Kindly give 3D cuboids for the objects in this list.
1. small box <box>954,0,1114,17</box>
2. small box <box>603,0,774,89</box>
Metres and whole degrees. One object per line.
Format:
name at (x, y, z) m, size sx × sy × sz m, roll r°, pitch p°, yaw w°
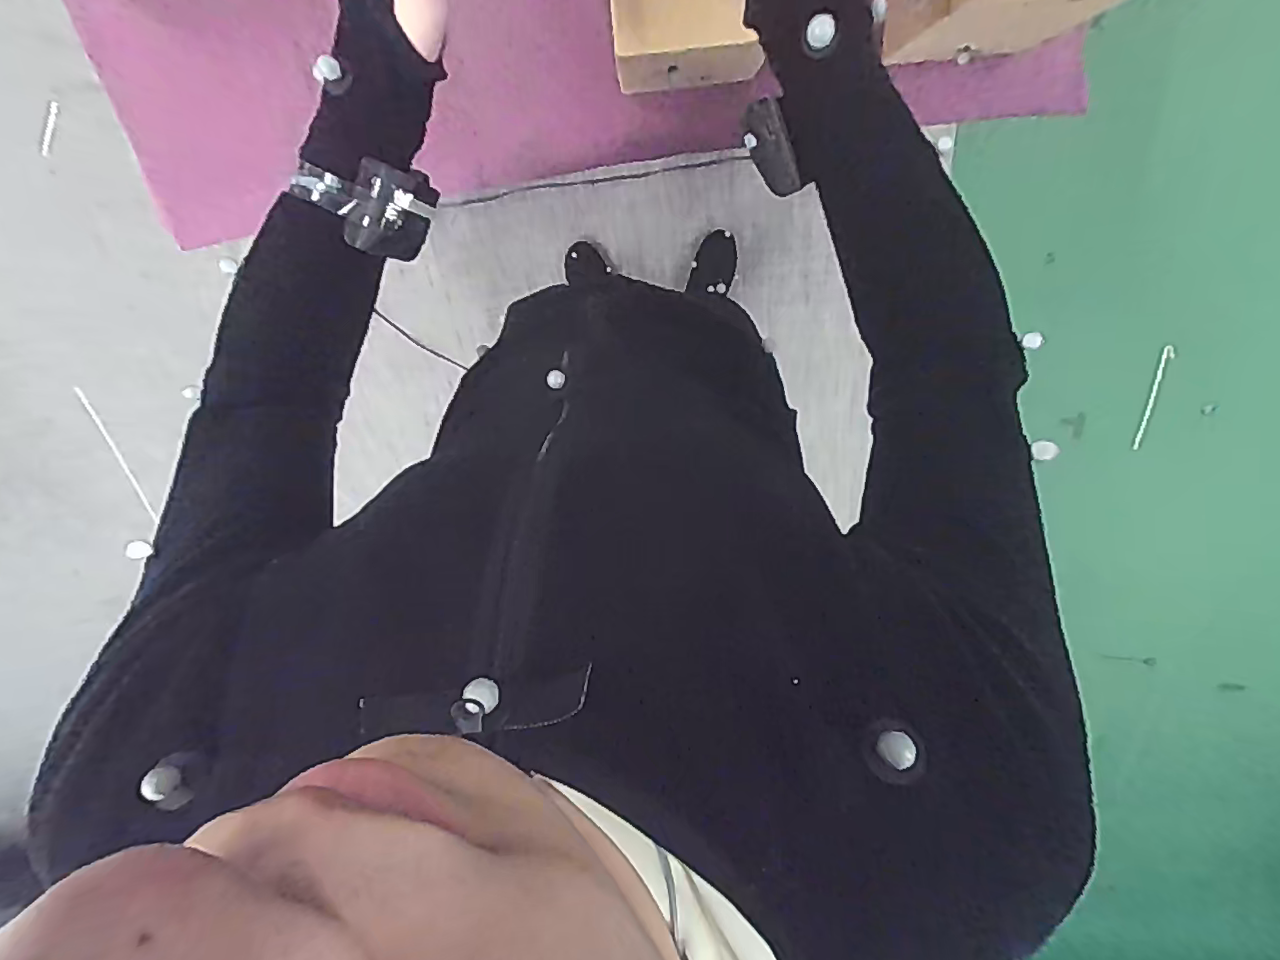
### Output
small box at (0.360, -0.488, 0.400) m, size 0.168 × 0.176 × 0.179 m, roll -3°, pitch 115°, yaw 4°
small box at (0.046, -0.535, 0.569) m, size 0.168 × 0.176 × 0.179 m, roll -4°, pitch 114°, yaw 3°
